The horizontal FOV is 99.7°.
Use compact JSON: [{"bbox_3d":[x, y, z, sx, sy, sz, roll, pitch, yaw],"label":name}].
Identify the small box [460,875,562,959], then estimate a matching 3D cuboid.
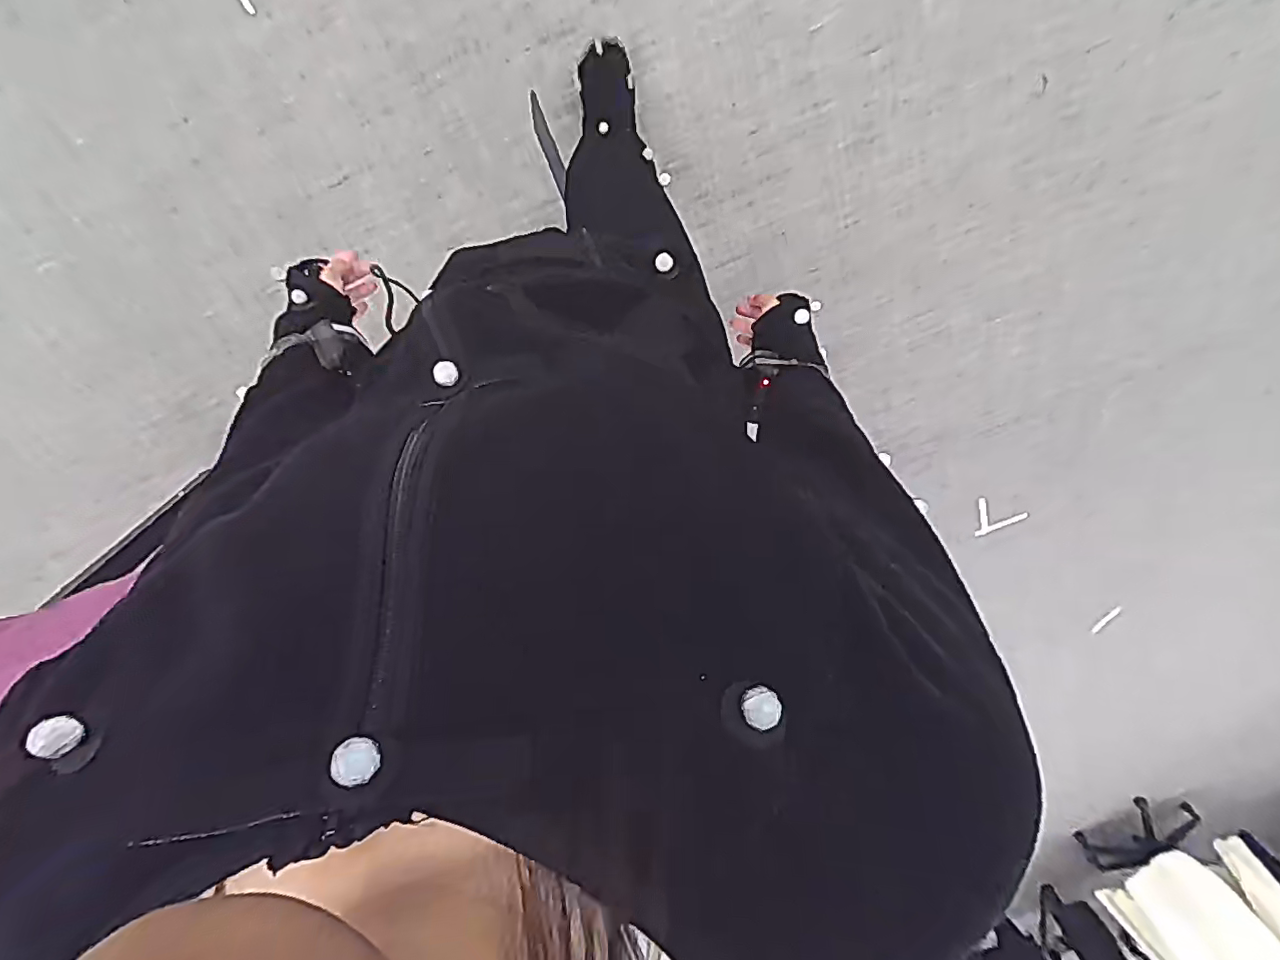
[{"bbox_3d":[-0.278,1.002,1.183,0.179,0.176,0.168,-19,120,6],"label":"small box"}]
